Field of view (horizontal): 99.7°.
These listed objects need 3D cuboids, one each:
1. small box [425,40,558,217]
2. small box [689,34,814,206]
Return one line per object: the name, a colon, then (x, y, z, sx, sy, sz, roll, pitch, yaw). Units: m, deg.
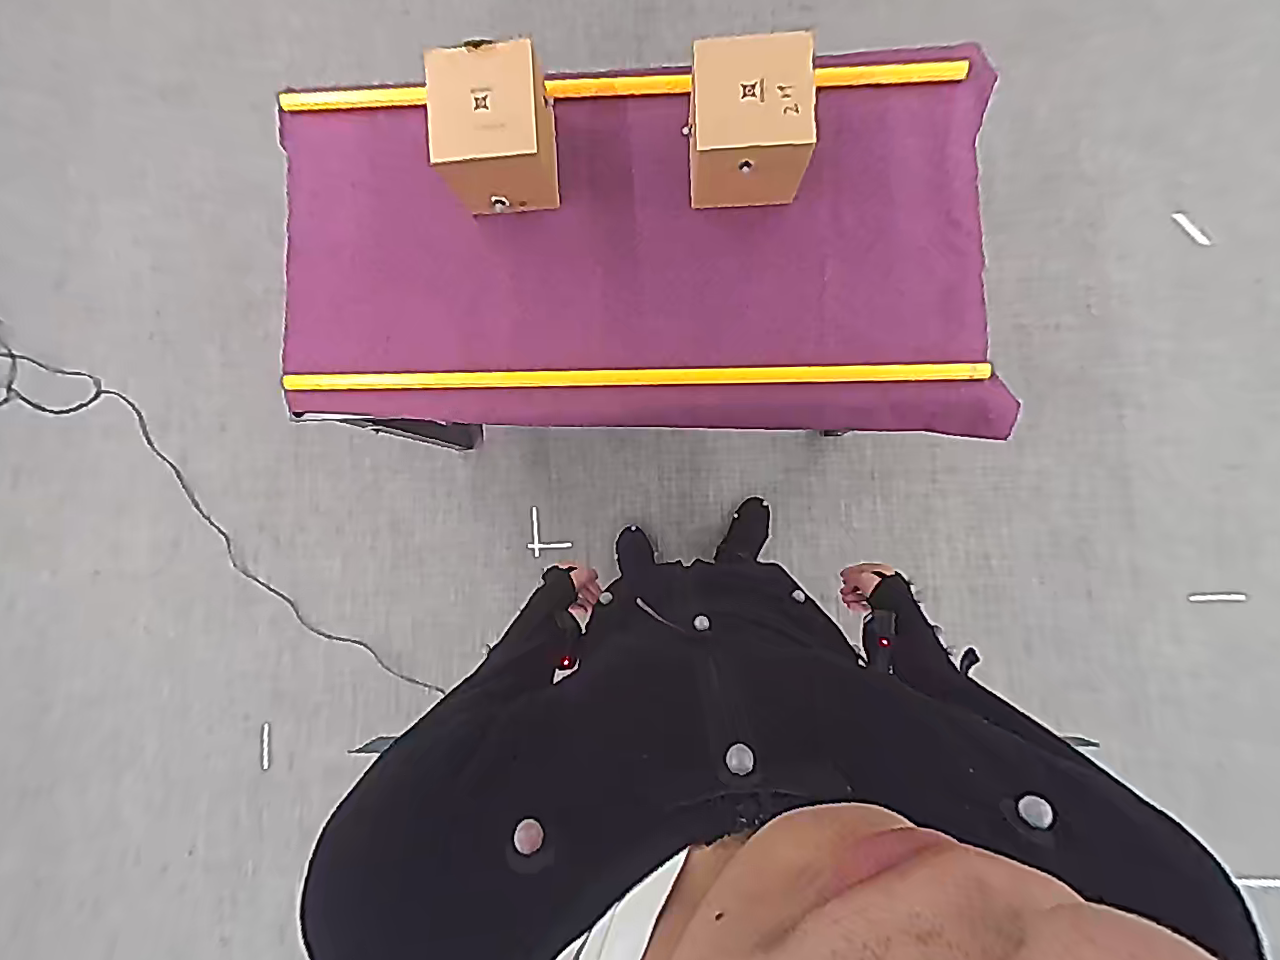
small box: (-0.234, -0.561, 0.883, 0.168, 0.176, 0.179, -4, 88, 3)
small box: (0.167, -0.559, 0.863, 0.179, 0.176, 0.168, -1, 89, 3)
